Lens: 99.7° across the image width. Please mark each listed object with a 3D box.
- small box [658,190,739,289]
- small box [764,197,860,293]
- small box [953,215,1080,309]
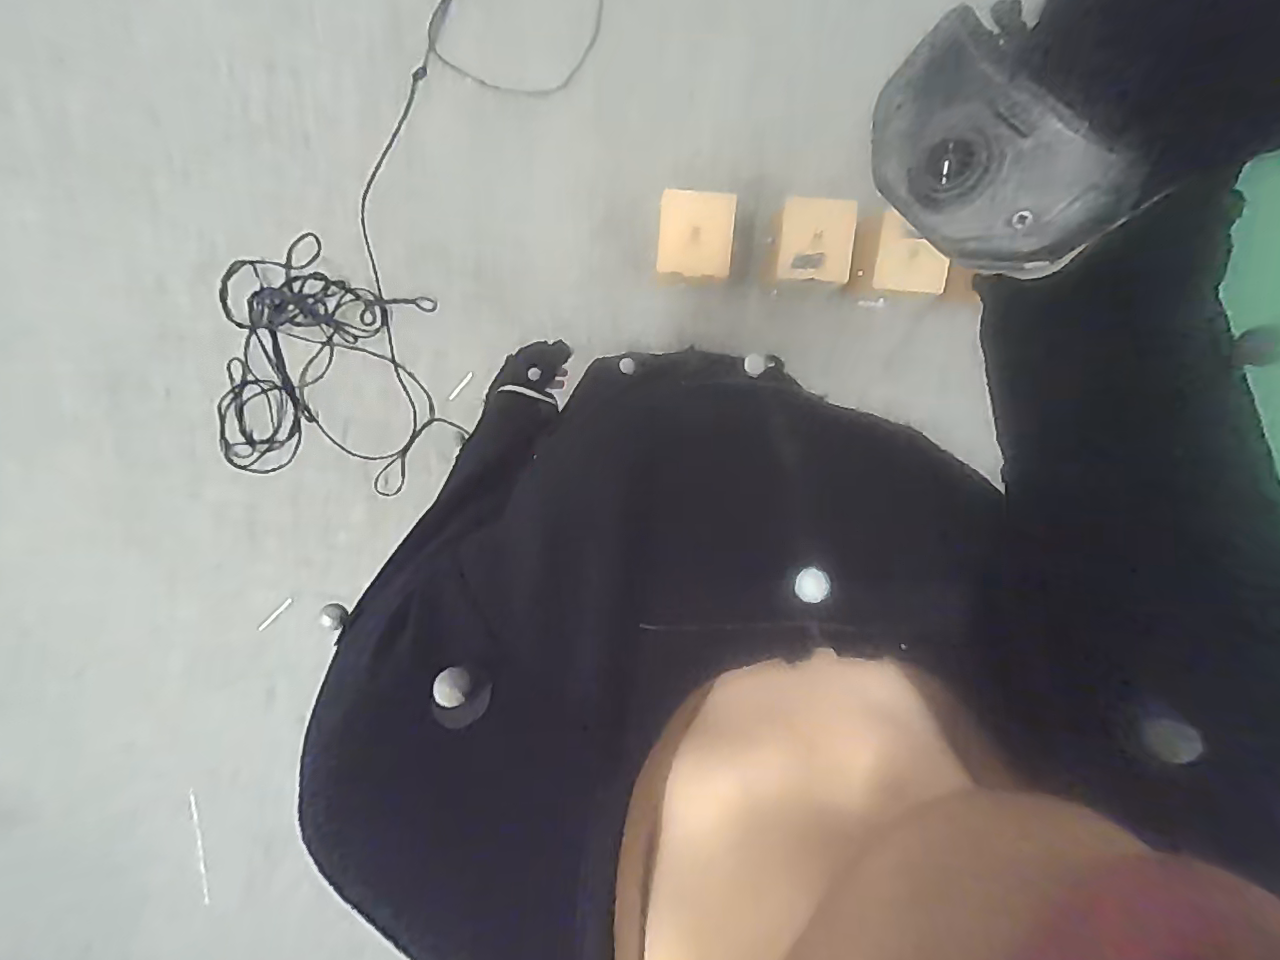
[{"bbox_3d":[0.130,-0.559,1.277,0.168,0.176,0.179,4,102,0],"label":"small box"},{"bbox_3d":[0.396,-0.544,1.274,0.168,0.176,0.179,4,101,1],"label":"small box"},{"bbox_3d":[0.875,-0.505,1.278,0.168,0.176,0.179,5,102,-1],"label":"small box"}]
